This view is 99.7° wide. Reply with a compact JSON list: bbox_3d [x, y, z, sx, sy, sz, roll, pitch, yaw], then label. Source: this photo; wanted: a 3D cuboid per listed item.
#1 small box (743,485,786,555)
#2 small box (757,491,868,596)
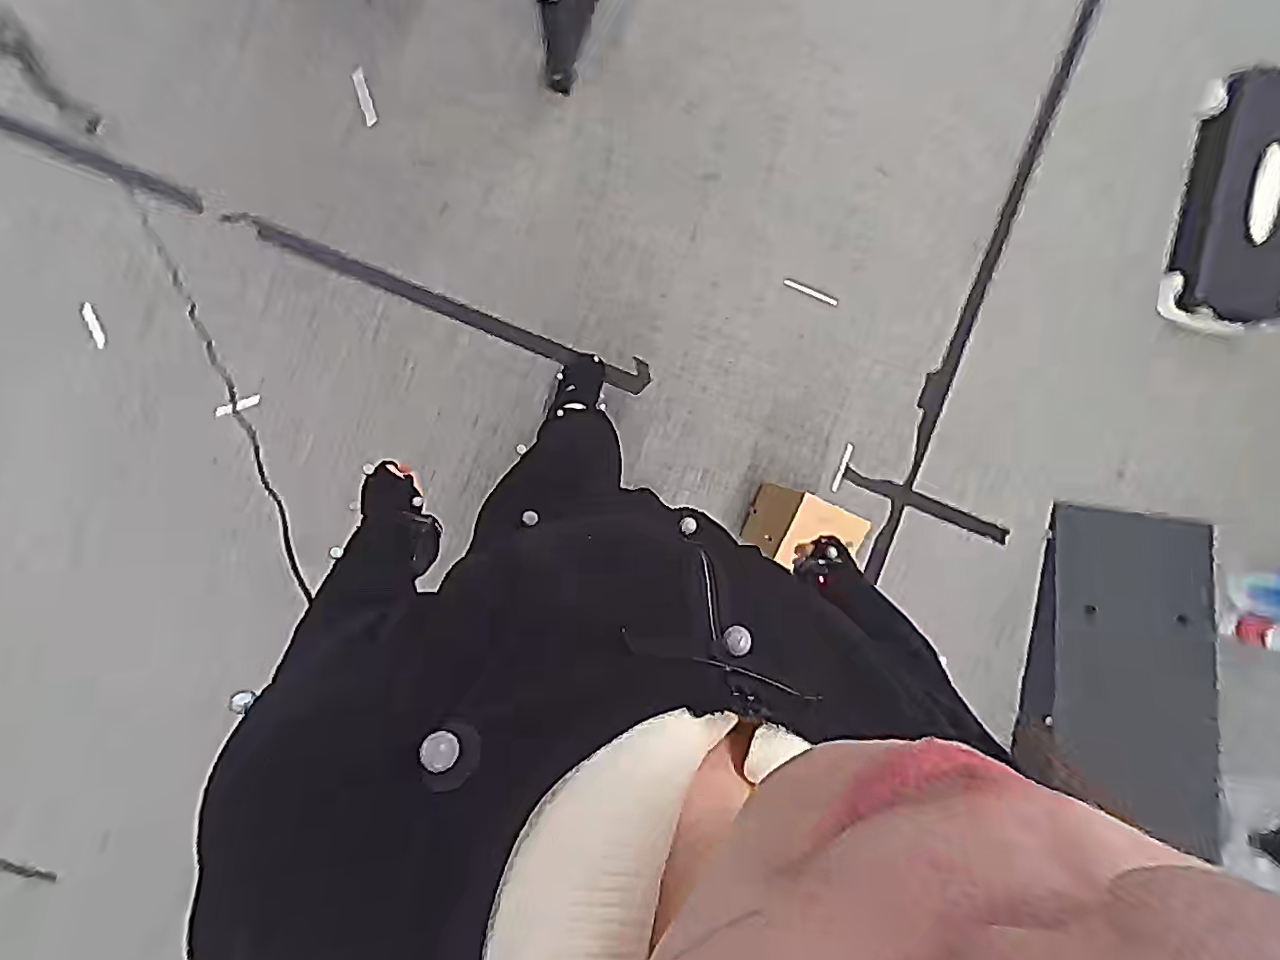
[{"bbox_3d":[0.386,0.126,1.428,0.168,0.176,0.179,23,93,-5],"label":"small box"},{"bbox_3d":[0.391,0.141,1.265,0.168,0.176,0.179,26,91,-5],"label":"small box"}]
